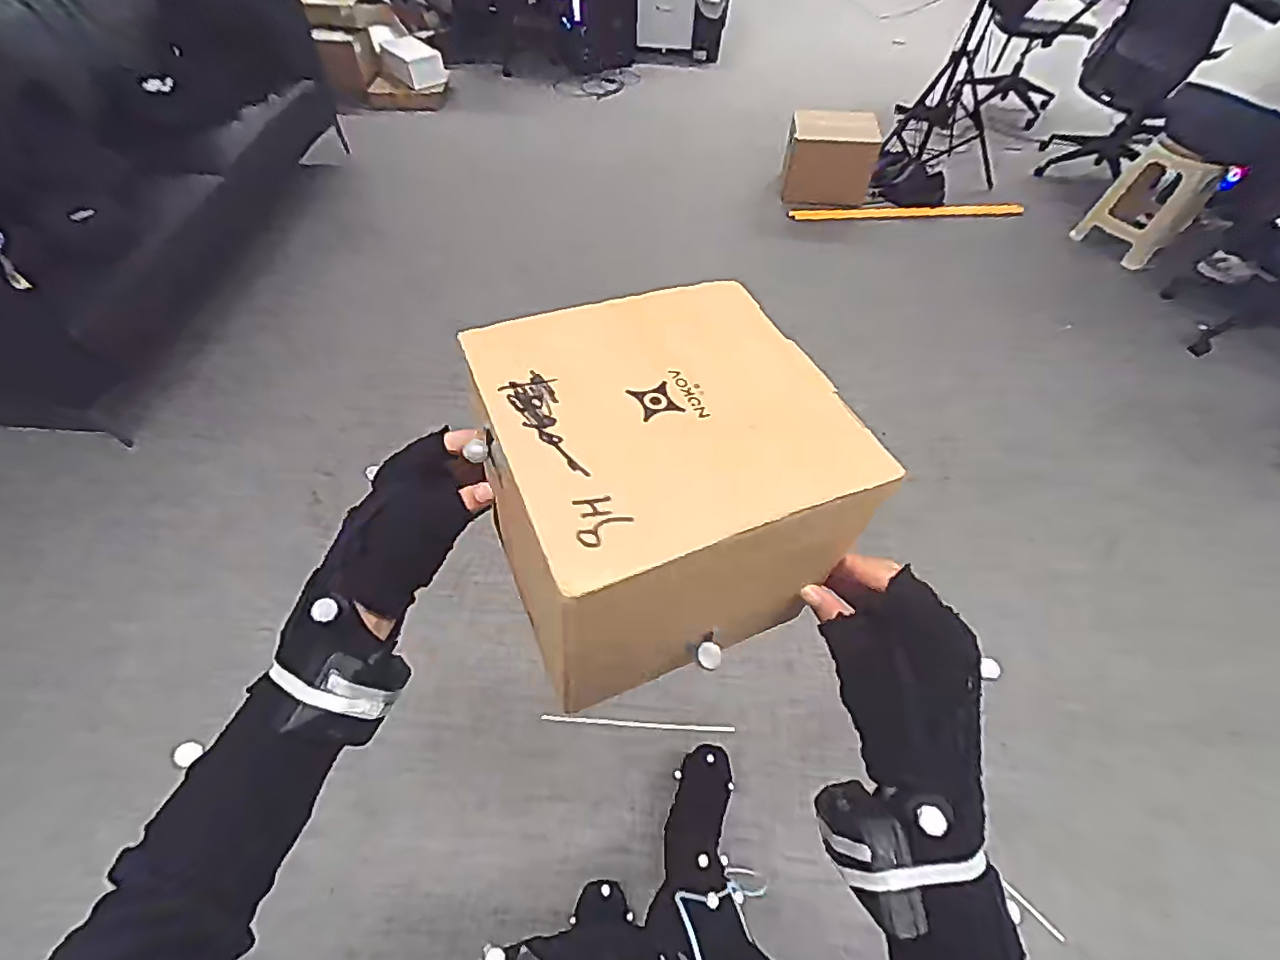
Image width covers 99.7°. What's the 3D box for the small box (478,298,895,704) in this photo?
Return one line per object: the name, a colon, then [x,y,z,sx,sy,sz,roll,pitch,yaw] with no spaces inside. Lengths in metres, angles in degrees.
small box: [0.010,0.013,0.346,0.179,0.176,0.168,-17,56,-21]
